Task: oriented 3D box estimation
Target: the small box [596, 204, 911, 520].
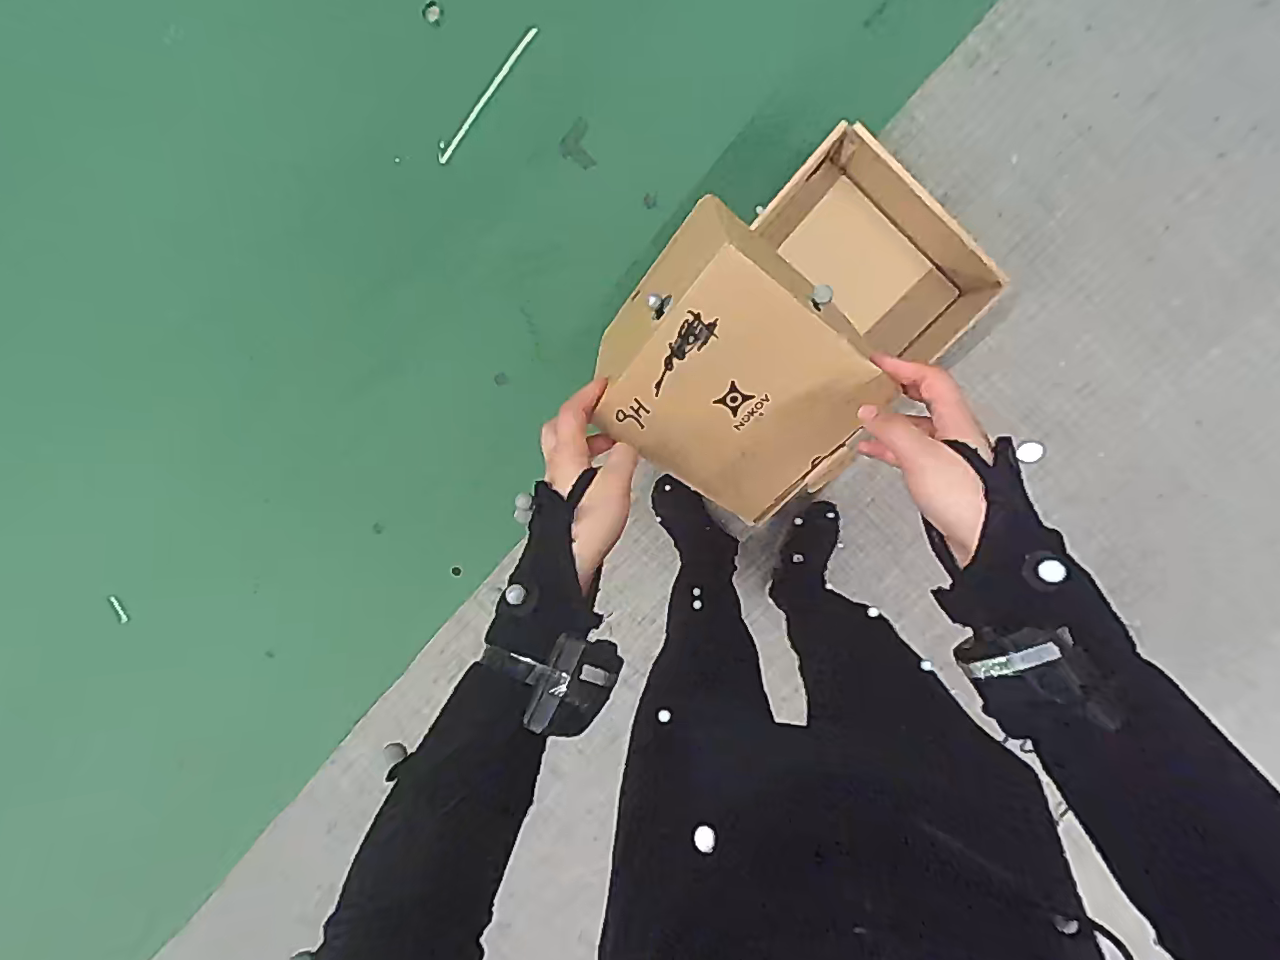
[{"bbox_3d":[0.084,-0.104,0.463,0.179,0.176,0.168,31,122,-21],"label":"small box"}]
